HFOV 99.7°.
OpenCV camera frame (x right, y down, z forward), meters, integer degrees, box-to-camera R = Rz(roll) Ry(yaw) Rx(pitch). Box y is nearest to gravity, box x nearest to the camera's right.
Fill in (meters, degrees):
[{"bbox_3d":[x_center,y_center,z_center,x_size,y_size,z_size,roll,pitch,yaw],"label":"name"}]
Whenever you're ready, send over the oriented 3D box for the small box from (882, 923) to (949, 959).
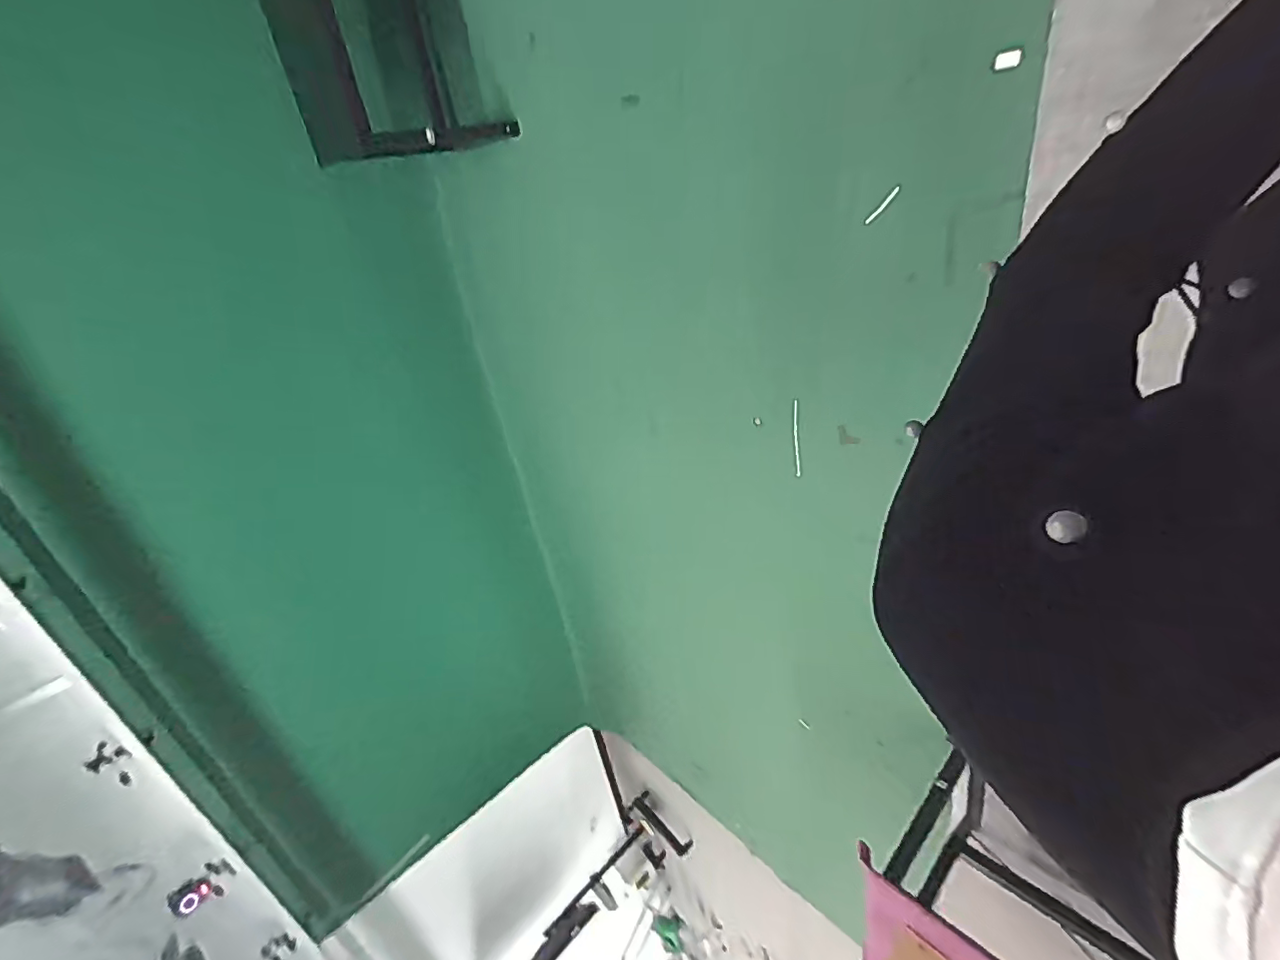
[{"bbox_3d":[0.774,1.411,1.516,0.168,0.176,0.179,20,132,42],"label":"small box"}]
